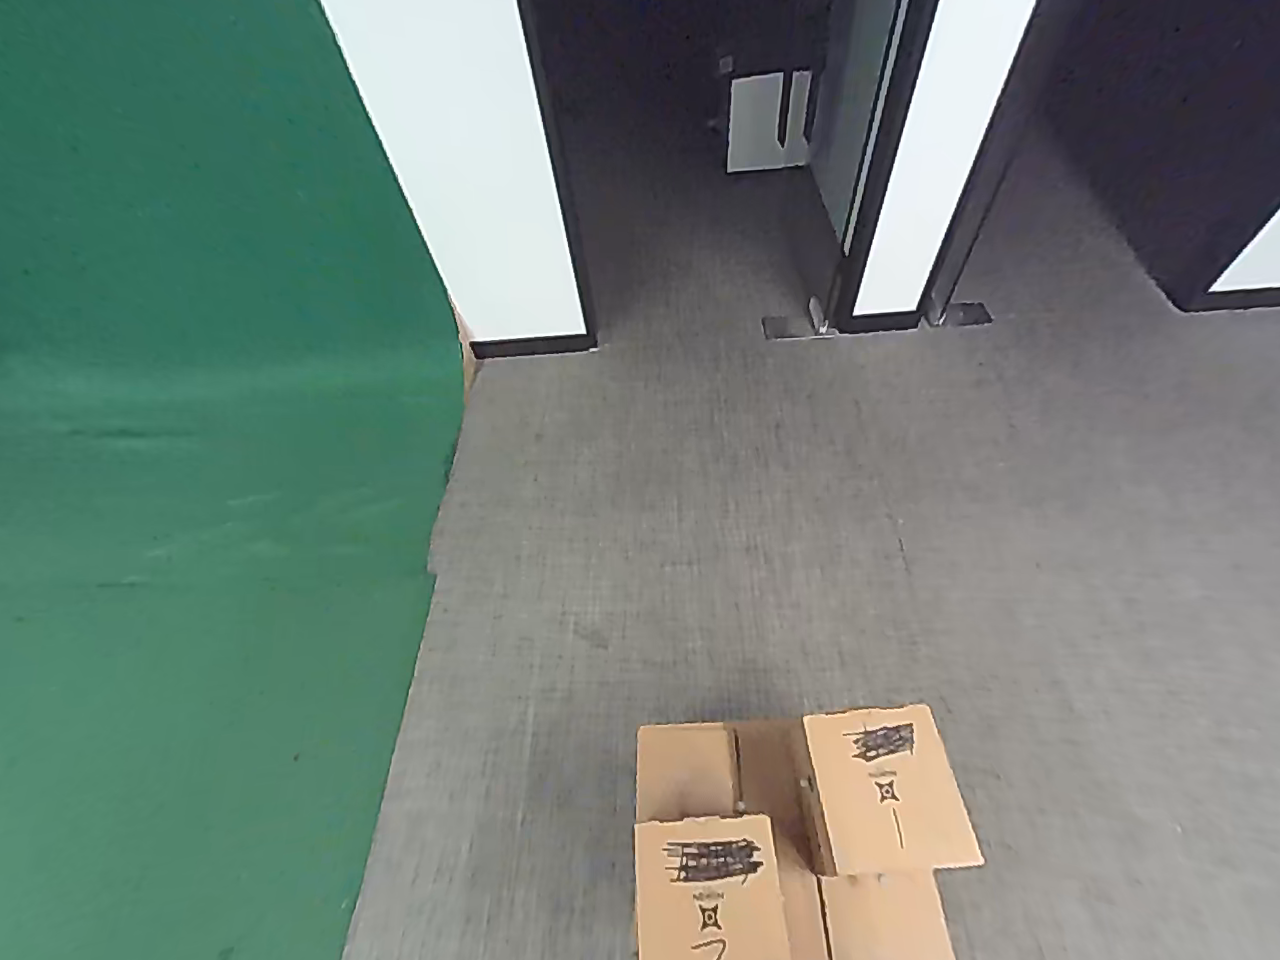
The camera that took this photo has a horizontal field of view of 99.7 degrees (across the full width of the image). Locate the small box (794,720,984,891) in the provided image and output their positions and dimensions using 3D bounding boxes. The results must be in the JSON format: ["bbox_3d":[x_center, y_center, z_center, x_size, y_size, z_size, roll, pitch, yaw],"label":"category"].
[{"bbox_3d":[0.311,0.437,0.724,0.168,0.176,0.179,-7,55,4],"label":"small box"}]
